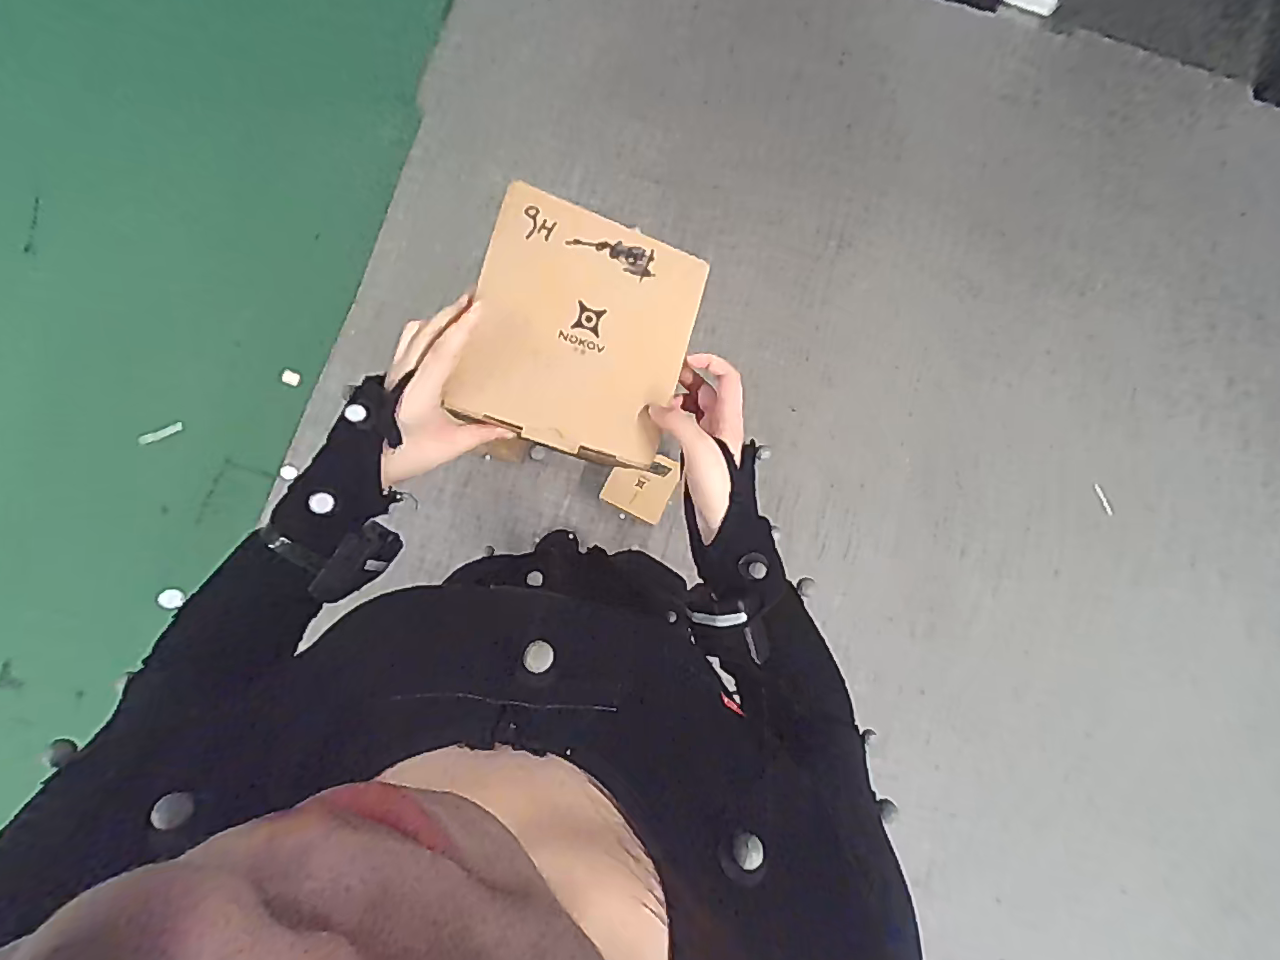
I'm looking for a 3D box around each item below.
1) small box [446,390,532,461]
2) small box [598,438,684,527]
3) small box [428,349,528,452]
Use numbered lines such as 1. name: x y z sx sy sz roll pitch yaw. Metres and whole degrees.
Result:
1. small box: -0.394 -0.162 1.447 0.168 0.176 0.179 14 83 -2
2. small box: -0.003 0.013 1.448 0.168 0.176 0.179 28 83 0
3. small box: -0.375 -0.183 1.289 0.168 0.176 0.179 15 81 0
